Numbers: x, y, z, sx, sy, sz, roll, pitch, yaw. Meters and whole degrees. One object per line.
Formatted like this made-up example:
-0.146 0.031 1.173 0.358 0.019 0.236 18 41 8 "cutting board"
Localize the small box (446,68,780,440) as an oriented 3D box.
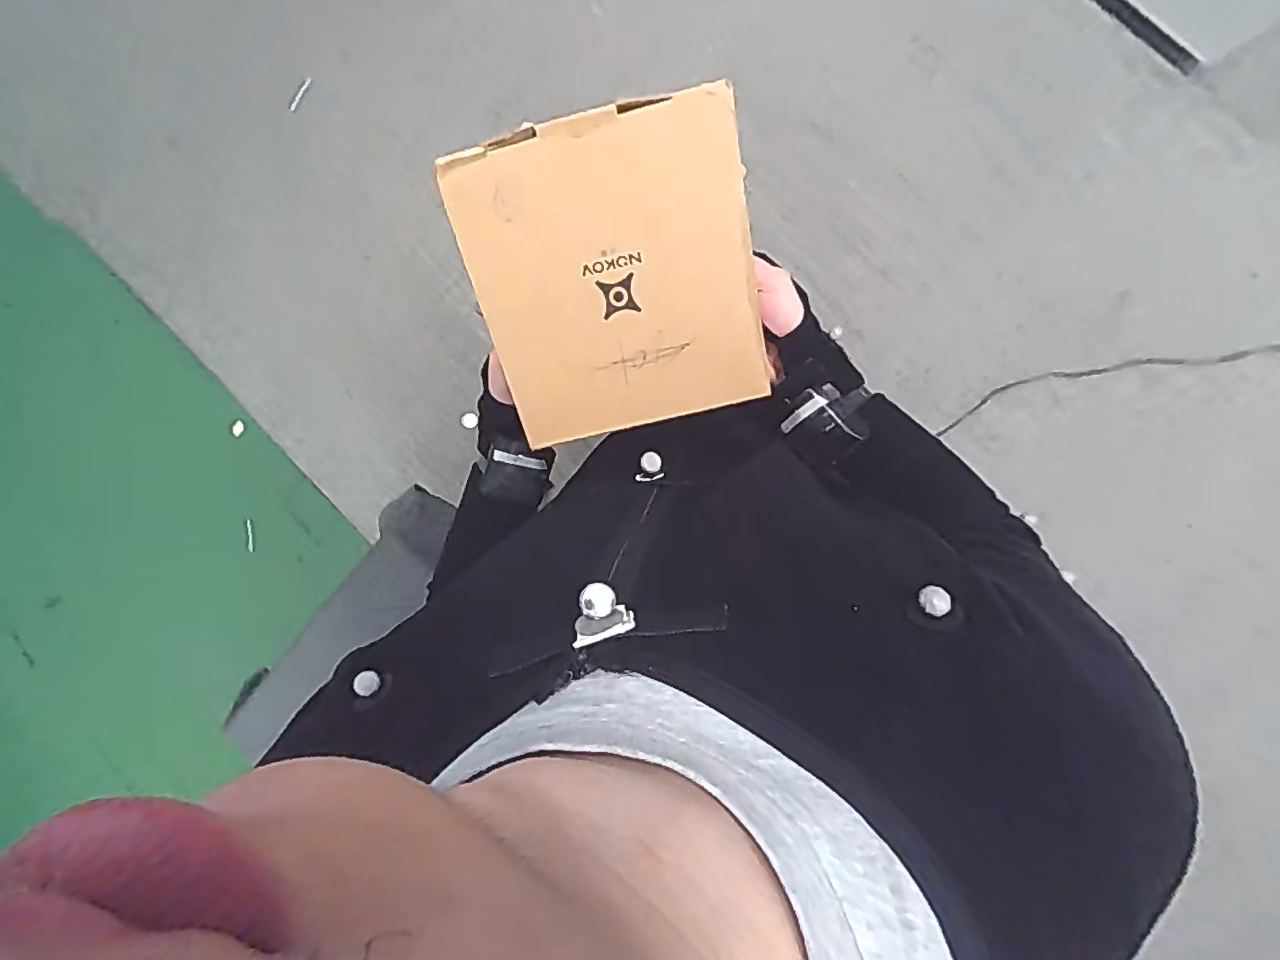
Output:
-0.009 -0.154 0.389 0.168 0.176 0.179 -13 117 6 "small box"
